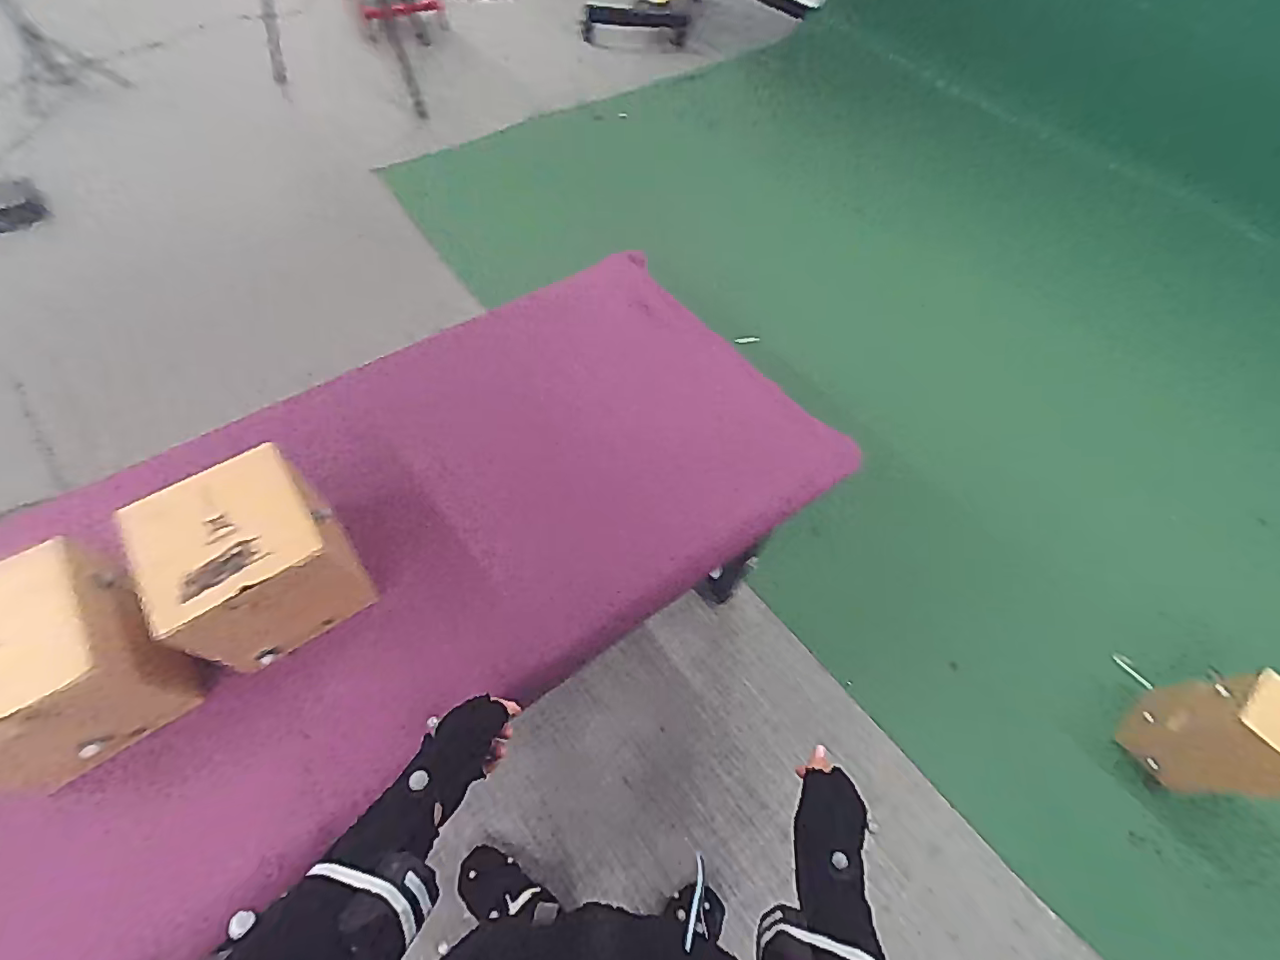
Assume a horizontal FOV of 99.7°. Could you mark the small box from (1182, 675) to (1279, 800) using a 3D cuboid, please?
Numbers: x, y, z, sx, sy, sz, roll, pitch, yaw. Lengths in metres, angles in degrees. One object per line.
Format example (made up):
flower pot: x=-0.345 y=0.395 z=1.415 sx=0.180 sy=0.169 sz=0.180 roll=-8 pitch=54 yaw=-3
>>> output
small box: x=1.325 y=0.549 z=1.142 sx=0.168 sy=0.176 sz=0.179 roll=-34 pitch=67 yaw=-21

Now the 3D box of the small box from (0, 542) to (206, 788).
small box: x=-0.628 y=0.206 z=0.587 sx=0.168 sy=0.176 sz=0.179 roll=-32 pitch=66 yaw=-20
